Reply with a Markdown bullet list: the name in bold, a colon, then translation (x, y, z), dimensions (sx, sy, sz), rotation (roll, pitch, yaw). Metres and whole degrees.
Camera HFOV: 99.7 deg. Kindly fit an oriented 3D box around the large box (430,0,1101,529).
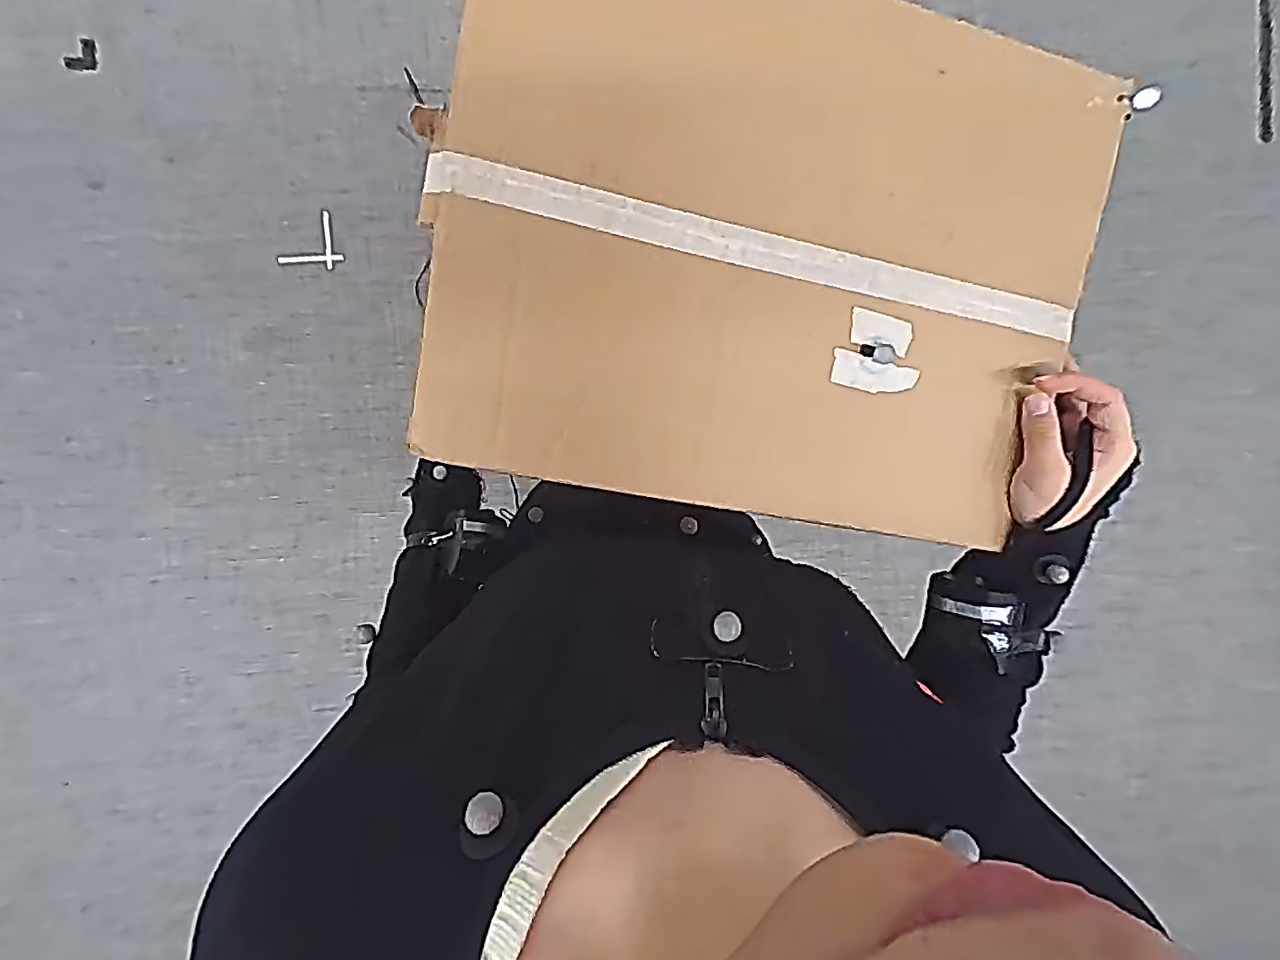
- **large box**: translation (0.064, -0.160, 0.481), dimensions (0.408, 0.320, 0.320), rotation (9, 97, -12)
